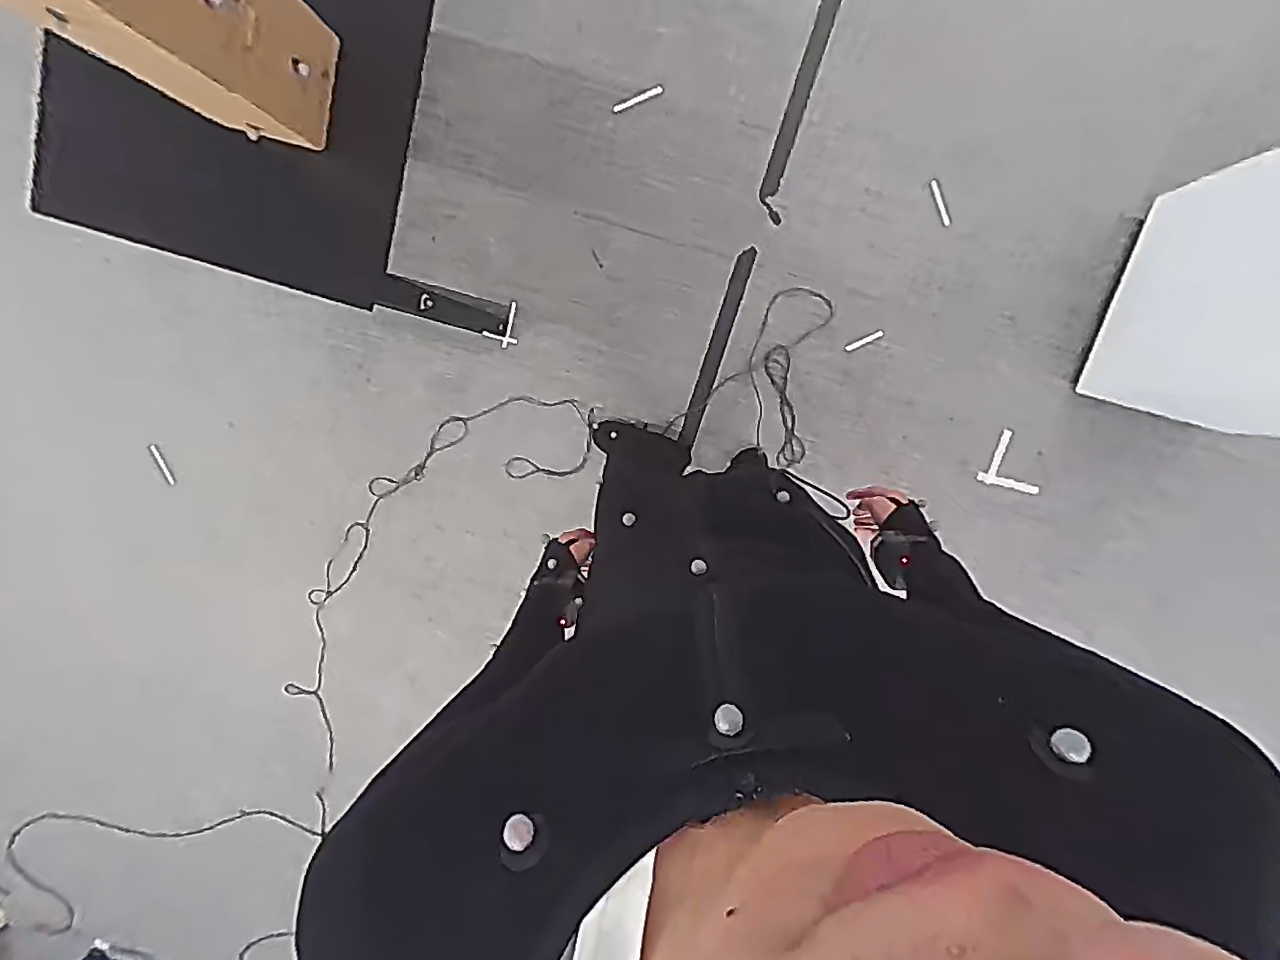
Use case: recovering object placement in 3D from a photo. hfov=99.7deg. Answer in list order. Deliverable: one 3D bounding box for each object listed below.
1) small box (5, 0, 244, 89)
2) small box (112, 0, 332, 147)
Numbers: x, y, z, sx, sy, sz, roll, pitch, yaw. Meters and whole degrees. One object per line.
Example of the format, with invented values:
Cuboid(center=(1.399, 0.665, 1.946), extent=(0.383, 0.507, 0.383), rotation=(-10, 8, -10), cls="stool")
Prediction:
Cuboid(center=(-0.582, -0.571, 0.591), extent=(0.179, 0.176, 0.168), rotation=(16, 101, 2), cls="small box")
Cuboid(center=(-0.567, -0.597, 0.753), extent=(0.179, 0.176, 0.168), rotation=(15, 100, 2), cls="small box")
